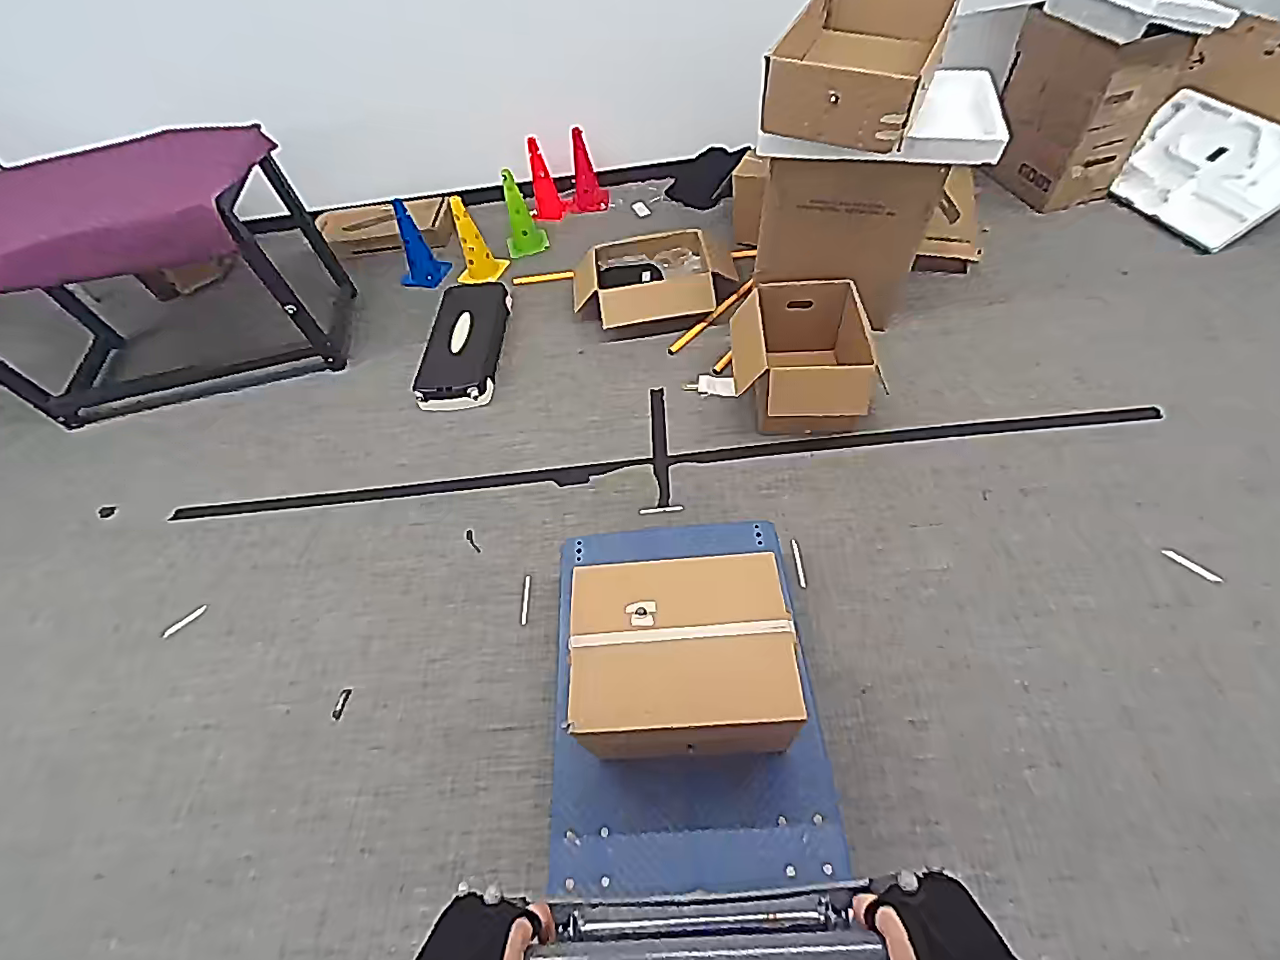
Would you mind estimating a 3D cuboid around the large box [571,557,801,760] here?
[{"bbox_3d":[0.089,0.385,1.133,0.408,0.320,0.320,-6,53,4],"label":"large box"}]
